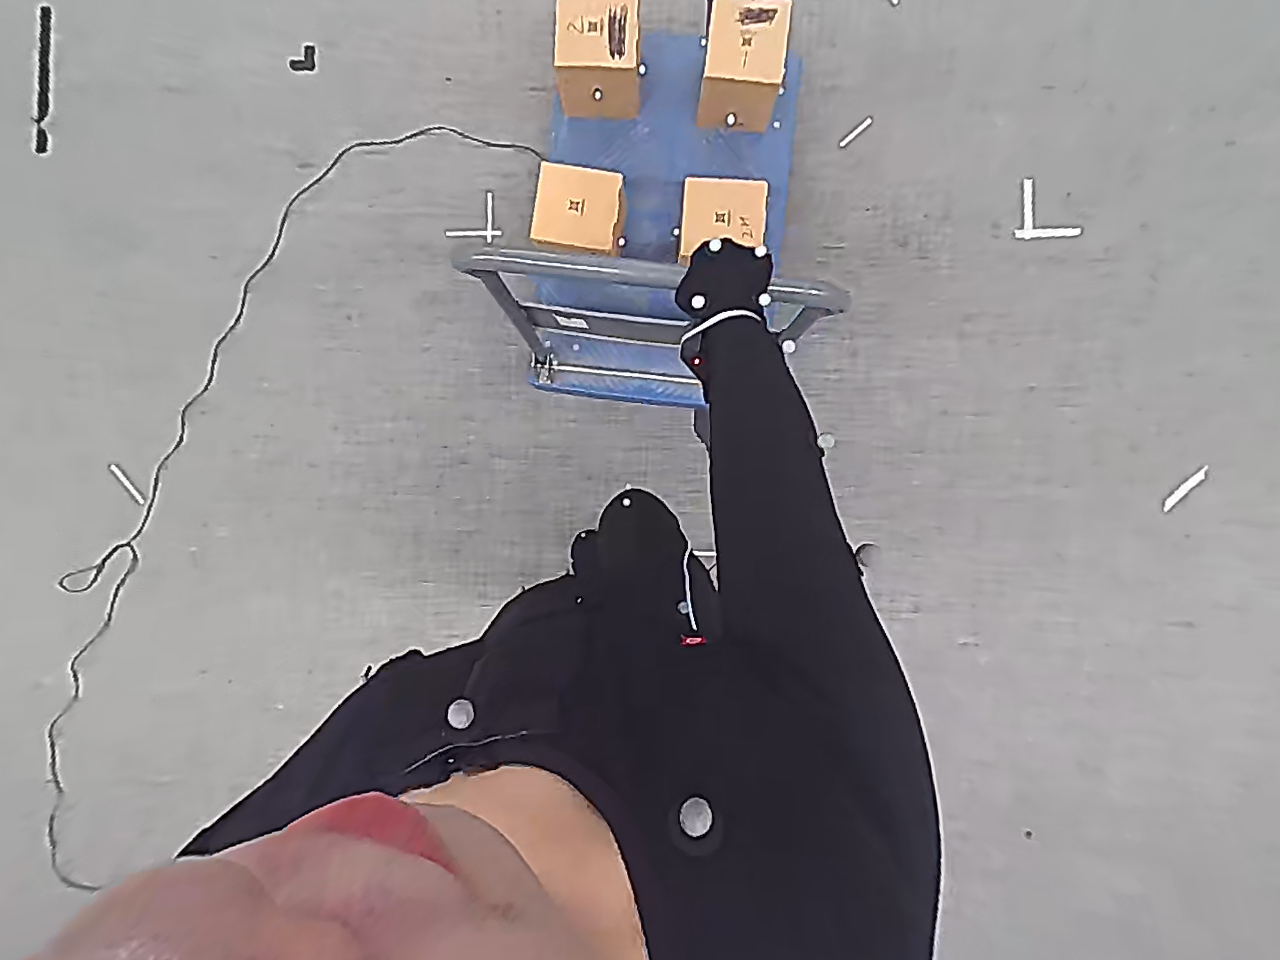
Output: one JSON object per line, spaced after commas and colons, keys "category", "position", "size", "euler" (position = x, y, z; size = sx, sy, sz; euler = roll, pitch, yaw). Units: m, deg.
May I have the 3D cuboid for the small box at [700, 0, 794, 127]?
{"category": "small box", "position": [0.229, -0.928, 1.197], "size": [0.168, 0.176, 0.179], "euler": [7, 92, 1]}

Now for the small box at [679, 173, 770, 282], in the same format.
{"category": "small box", "position": [0.181, -0.554, 1.204], "size": [0.179, 0.176, 0.168], "euler": [4, 91, 1]}

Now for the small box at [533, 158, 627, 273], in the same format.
{"category": "small box", "position": [-0.127, -0.582, 1.209], "size": [0.179, 0.176, 0.168], "euler": [8, 91, -1]}
